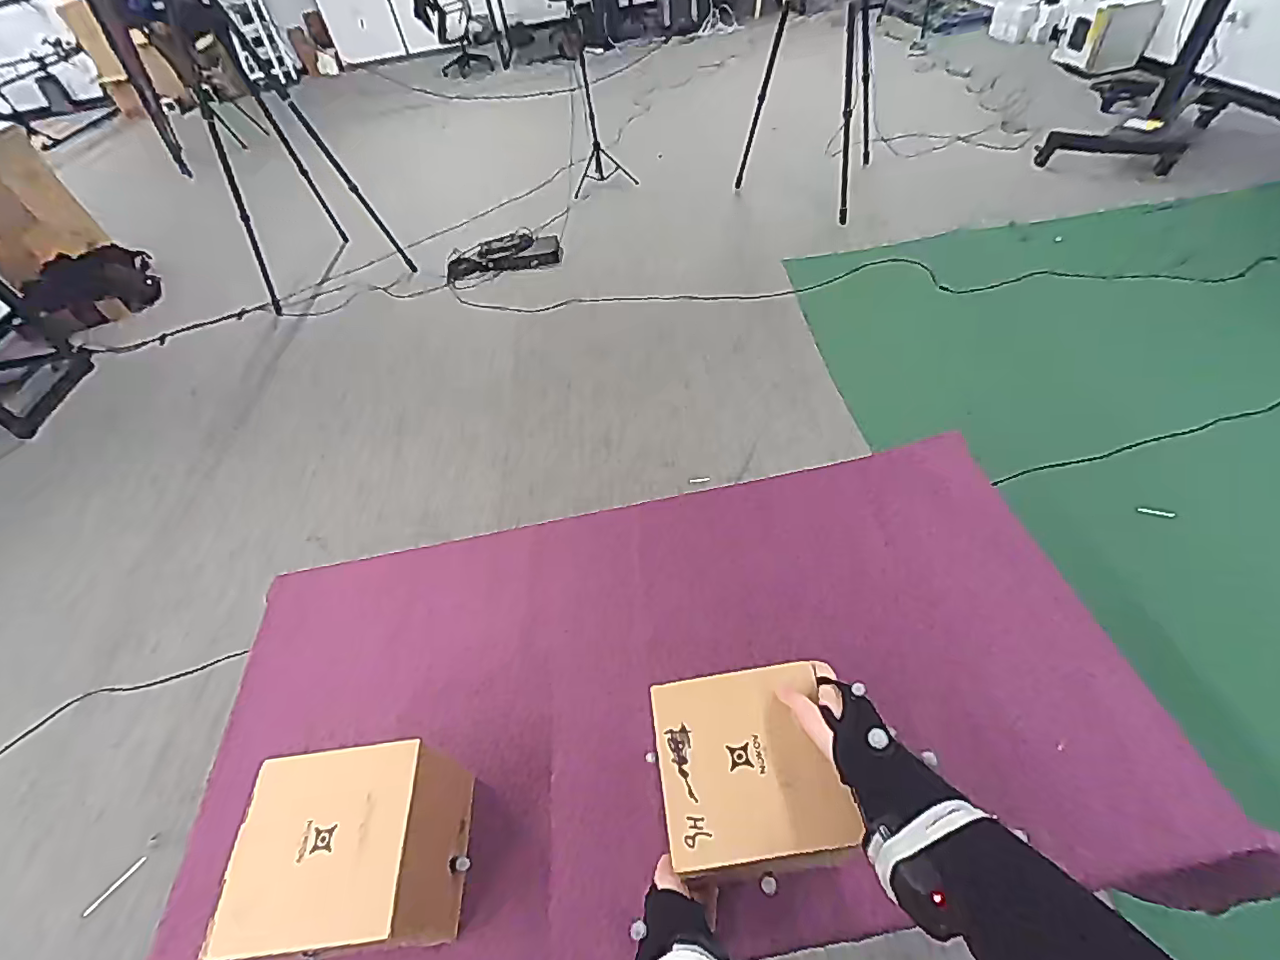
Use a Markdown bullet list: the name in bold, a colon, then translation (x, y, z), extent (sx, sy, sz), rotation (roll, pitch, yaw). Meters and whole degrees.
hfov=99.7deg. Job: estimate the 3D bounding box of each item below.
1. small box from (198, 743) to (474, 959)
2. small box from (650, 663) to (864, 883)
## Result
- **small box**: translation (-0.300, 0.403, 0.582), extent (0.179, 0.176, 0.168), rotation (-8, 49, 1)
- **small box**: translation (0.112, 0.319, 0.584), extent (0.179, 0.176, 0.168), rotation (-10, 49, 1)
